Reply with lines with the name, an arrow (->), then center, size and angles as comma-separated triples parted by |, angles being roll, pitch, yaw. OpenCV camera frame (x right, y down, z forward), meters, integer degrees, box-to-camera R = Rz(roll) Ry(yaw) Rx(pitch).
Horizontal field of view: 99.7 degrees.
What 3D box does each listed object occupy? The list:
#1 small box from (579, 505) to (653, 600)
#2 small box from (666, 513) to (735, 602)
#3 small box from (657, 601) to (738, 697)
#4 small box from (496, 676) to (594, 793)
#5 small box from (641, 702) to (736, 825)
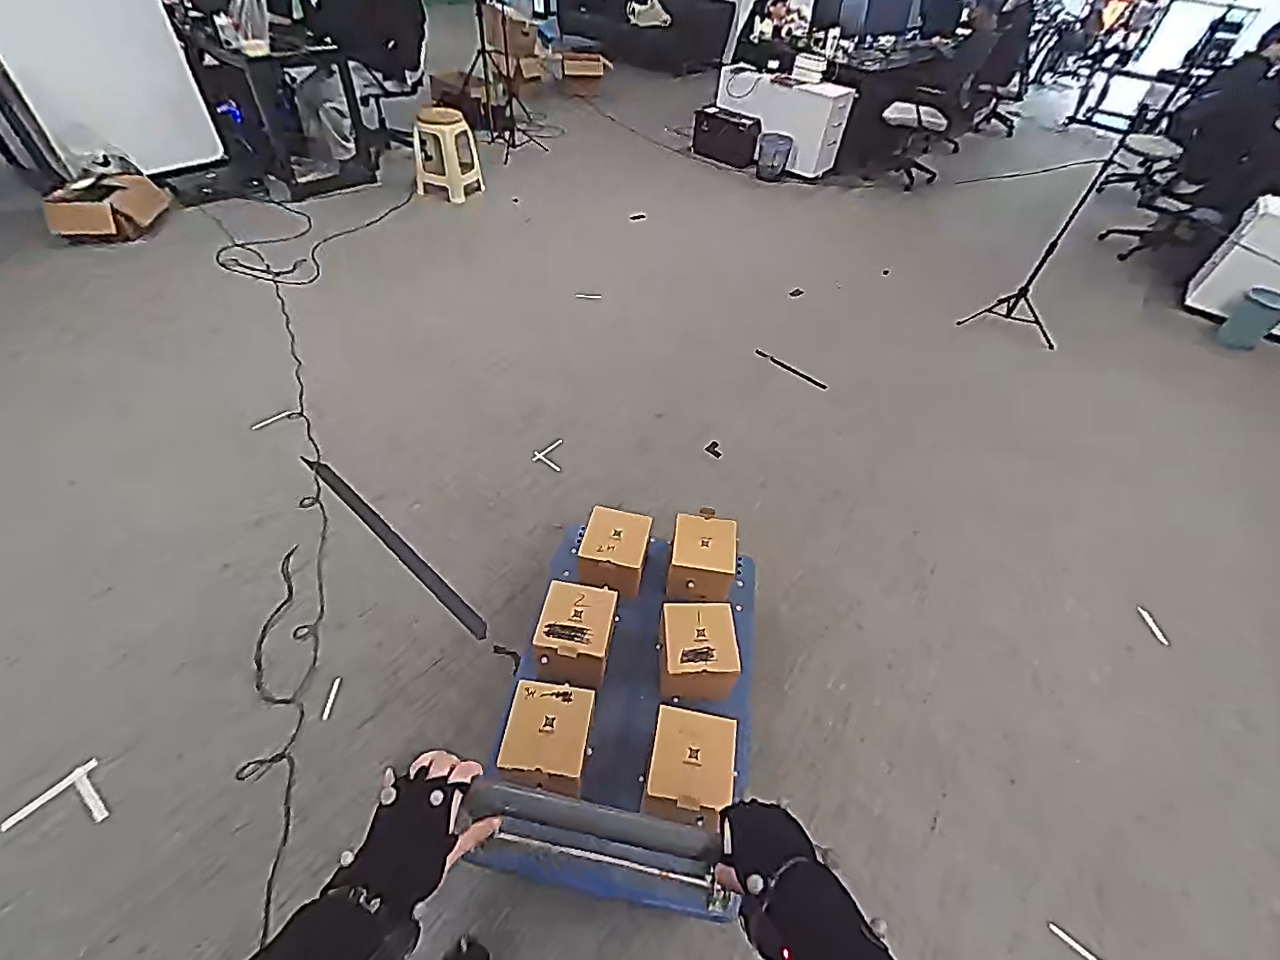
small box -> -0.068, 0.200, 1.492 | 0.168, 0.176, 0.179 | 12, 48, 5
small box -> 0.166, 0.219, 1.503 | 0.168, 0.176, 0.179 | 8, 47, 2
small box -> 0.133, 0.415, 1.317 | 0.168, 0.176, 0.179 | 2, 47, -4
small box -> -0.194, 0.548, 1.157 | 0.168, 0.176, 0.179 | 9, 47, 1
small box -> 0.099, 0.602, 1.142 | 0.168, 0.176, 0.179 | 12, 46, 4
